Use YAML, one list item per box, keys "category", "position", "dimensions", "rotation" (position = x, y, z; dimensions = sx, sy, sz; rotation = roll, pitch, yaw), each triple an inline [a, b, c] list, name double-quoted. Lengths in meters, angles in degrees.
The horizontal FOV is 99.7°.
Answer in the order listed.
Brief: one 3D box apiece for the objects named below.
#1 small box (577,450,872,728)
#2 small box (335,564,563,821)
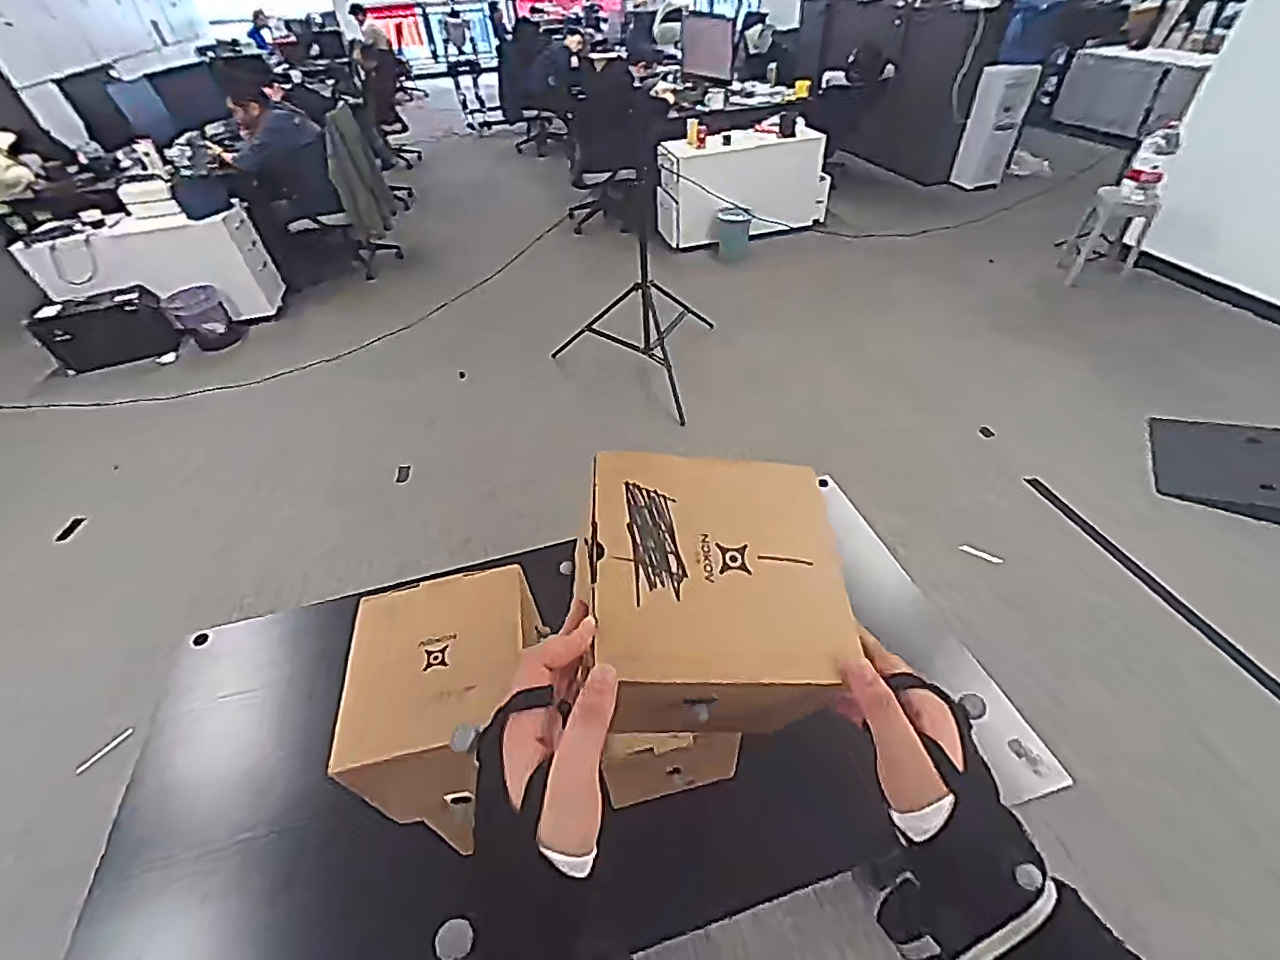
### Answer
- category: "small box"
  position: [0.043, 0.095, 0.427]
  dimensions: [0.179, 0.176, 0.168]
  rotation: [4, 56, -10]
- category: "small box"
  position: [-0.182, 0.220, 0.565]
  dimensions: [0.168, 0.176, 0.179]
  rotation: [-13, 46, -6]
